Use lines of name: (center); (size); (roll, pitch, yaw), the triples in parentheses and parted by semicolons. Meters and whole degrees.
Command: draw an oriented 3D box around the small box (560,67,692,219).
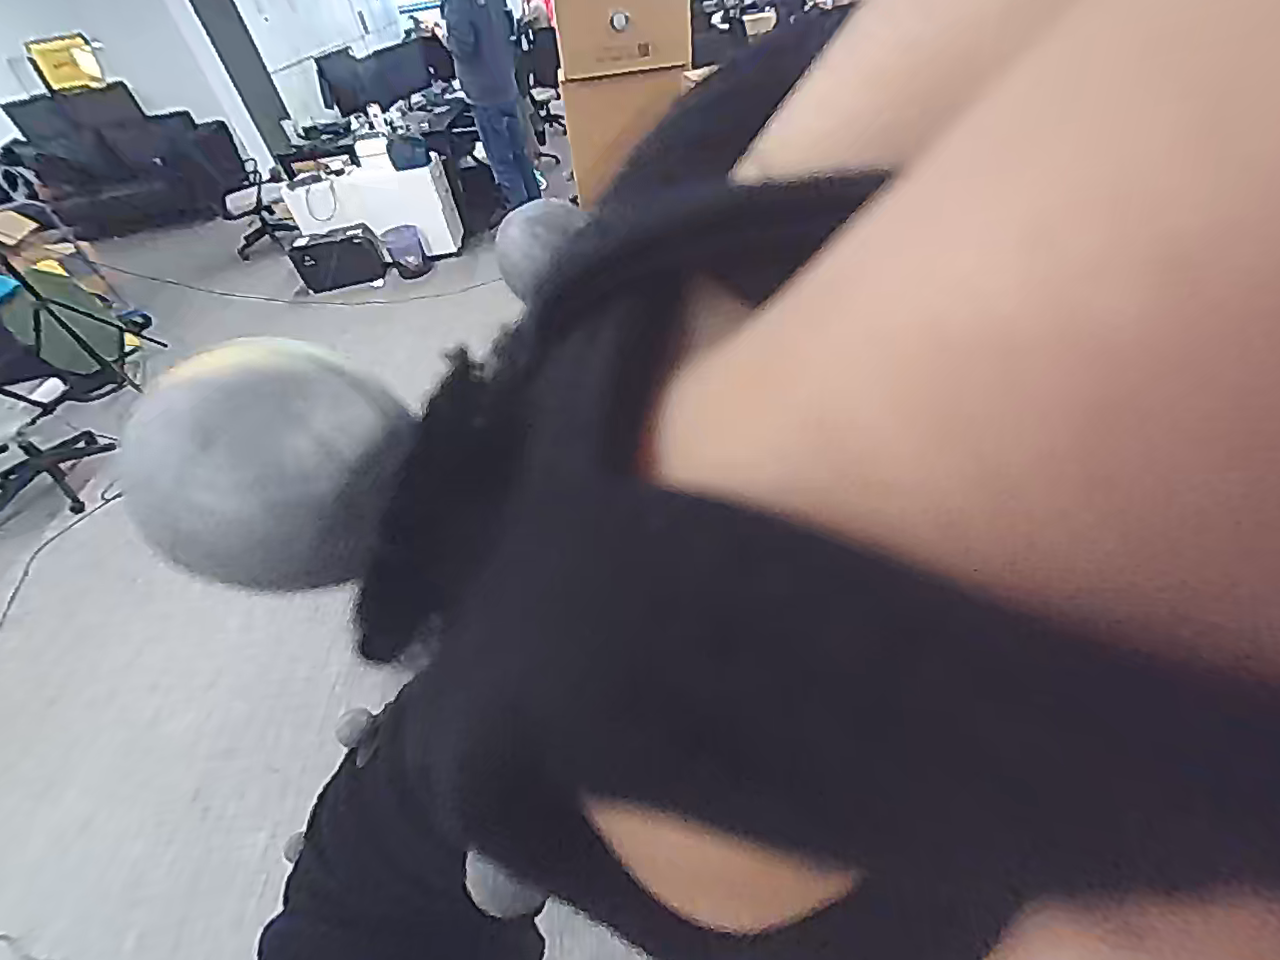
small box: (-0.019, -0.515, 0.817); (0.179, 0.176, 0.168); (-10, 41, -1)

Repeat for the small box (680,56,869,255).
small box: (0.154, -0.398, 0.671); (0.179, 0.176, 0.168); (-10, 46, -1)

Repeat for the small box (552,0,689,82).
small box: (-0.032, -0.633, 0.702); (0.168, 0.176, 0.179); (-9, 42, -2)
